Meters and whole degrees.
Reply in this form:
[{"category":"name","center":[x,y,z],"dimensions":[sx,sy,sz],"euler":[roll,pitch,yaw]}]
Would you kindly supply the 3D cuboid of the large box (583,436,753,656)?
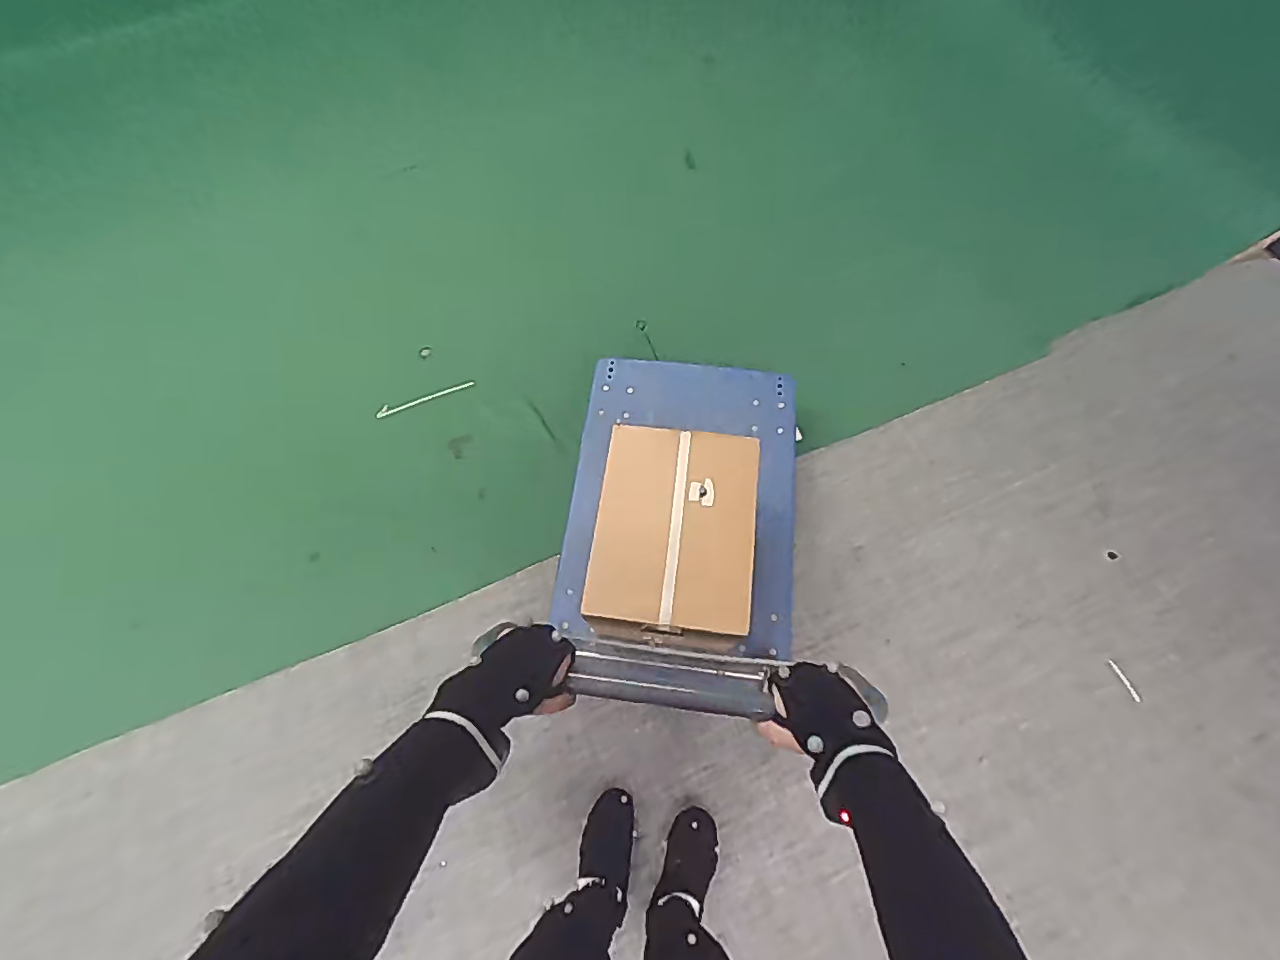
[{"category":"large box","center":[0.072,0.160,1.218],"dimensions":[0.320,0.320,0.408],"euler":[7,67,5]}]
